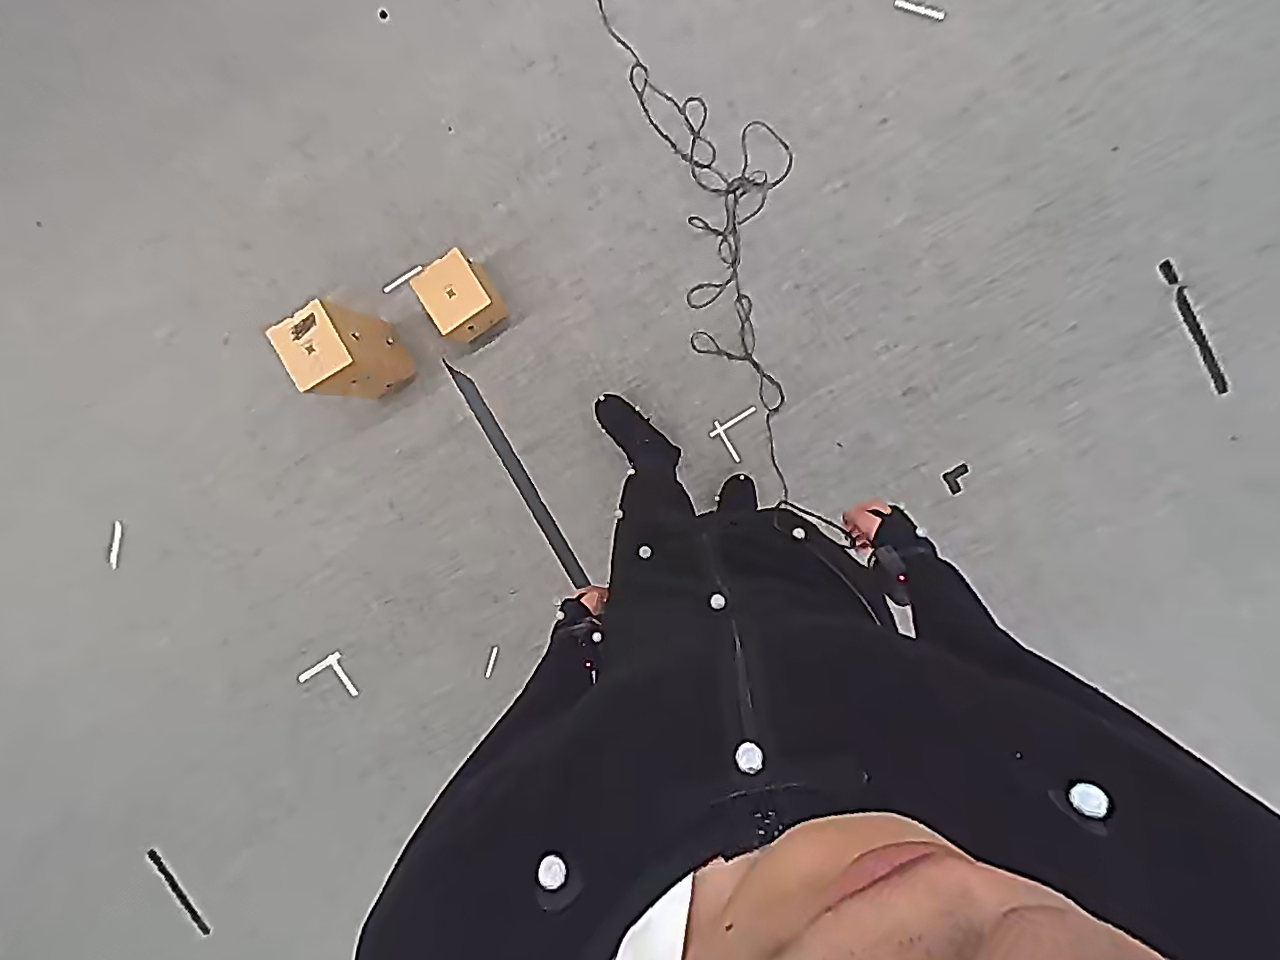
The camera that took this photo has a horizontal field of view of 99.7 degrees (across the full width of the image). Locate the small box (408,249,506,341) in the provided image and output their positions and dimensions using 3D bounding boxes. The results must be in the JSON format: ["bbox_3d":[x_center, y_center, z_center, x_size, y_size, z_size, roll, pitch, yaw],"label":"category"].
[{"bbox_3d":[-0.509,-0.513,1.533,0.168,0.176,0.179,-32,92,6],"label":"small box"}]

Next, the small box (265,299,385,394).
[{"bbox_3d":[-0.809,-0.337,1.405,0.168,0.176,0.179,-28,94,7],"label":"small box"}]
